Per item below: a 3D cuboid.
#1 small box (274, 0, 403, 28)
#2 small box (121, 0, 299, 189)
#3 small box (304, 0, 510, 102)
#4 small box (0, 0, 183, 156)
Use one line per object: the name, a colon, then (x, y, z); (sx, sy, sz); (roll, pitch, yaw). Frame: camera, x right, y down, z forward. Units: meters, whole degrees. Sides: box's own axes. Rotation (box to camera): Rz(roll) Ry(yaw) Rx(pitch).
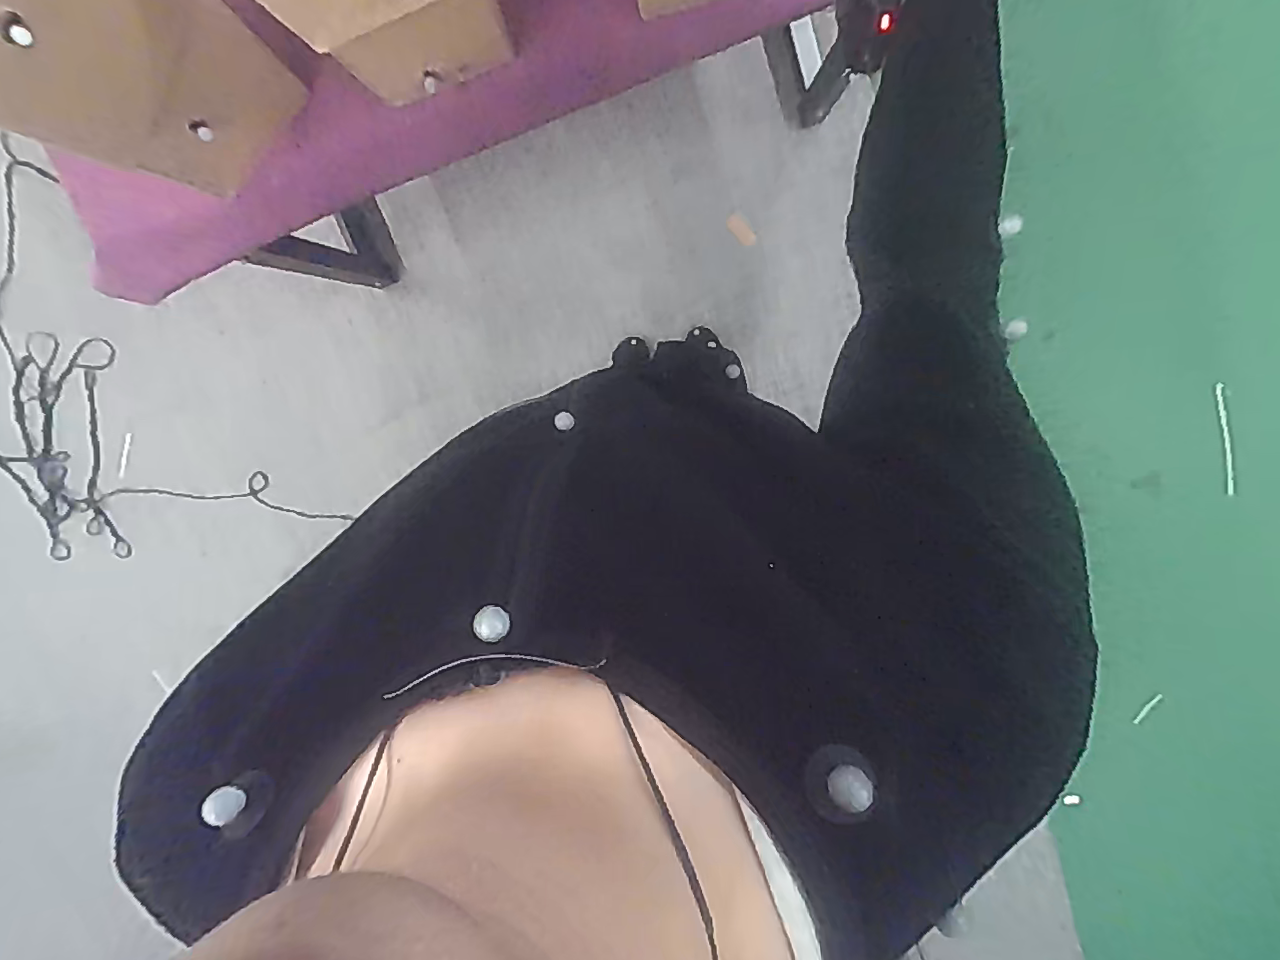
small box: (-0.254, -0.488, 0.400); (0.168, 0.176, 0.179); (-18, 101, 7)
small box: (-0.522, -0.454, 0.582); (0.179, 0.176, 0.168); (-43, 99, 11)
small box: (-0.255, -0.540, 0.554); (0.168, 0.176, 0.179); (-17, 102, 7)
small box: (-0.523, -0.402, 0.425); (0.168, 0.176, 0.179); (34, 101, -6)
